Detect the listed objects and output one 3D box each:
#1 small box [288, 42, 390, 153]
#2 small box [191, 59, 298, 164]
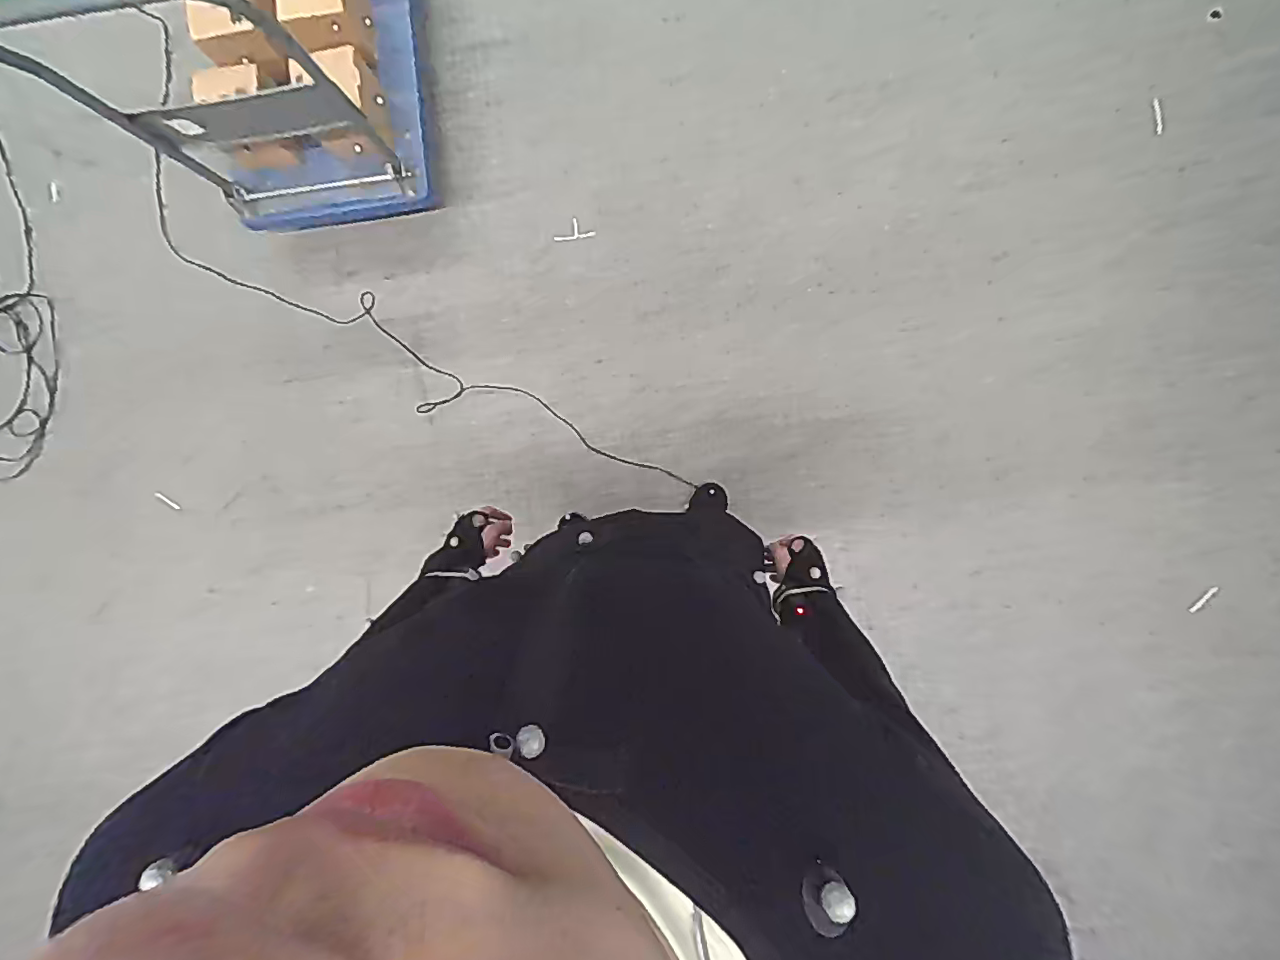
[{"bbox_3d":[-0.790,-1.009,1.440,0.179,0.176,0.168,-8,89,3],"label":"small box"},{"bbox_3d":[-1.051,-0.983,1.455,0.179,0.176,0.168,-3,89,4],"label":"small box"}]
